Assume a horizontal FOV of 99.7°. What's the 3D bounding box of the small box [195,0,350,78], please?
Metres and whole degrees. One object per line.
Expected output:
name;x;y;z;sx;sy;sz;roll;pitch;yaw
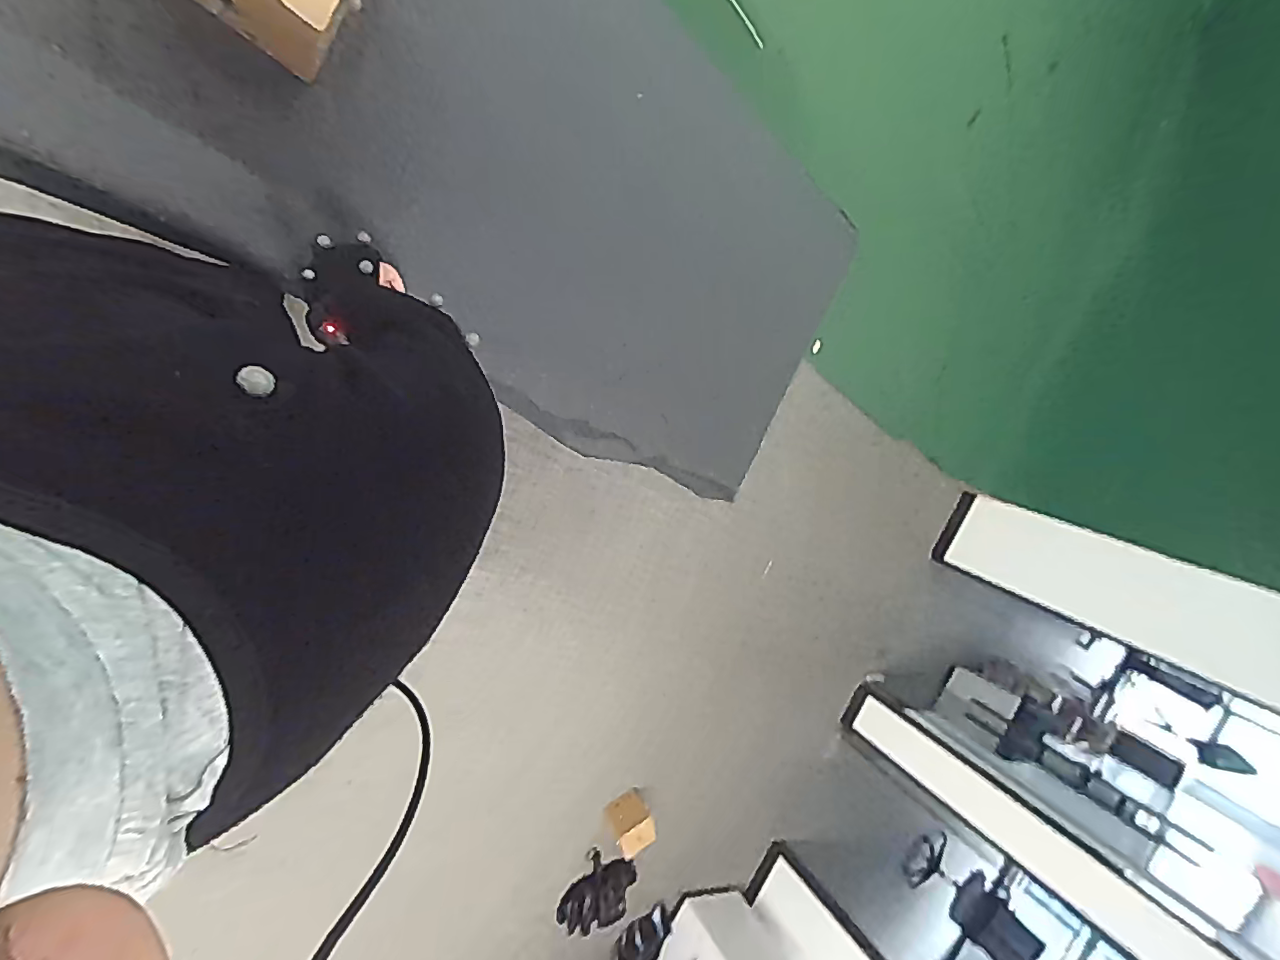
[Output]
small box;-0.355;-0.525;0.500;0.168;0.176;0.179;25;93;-40
